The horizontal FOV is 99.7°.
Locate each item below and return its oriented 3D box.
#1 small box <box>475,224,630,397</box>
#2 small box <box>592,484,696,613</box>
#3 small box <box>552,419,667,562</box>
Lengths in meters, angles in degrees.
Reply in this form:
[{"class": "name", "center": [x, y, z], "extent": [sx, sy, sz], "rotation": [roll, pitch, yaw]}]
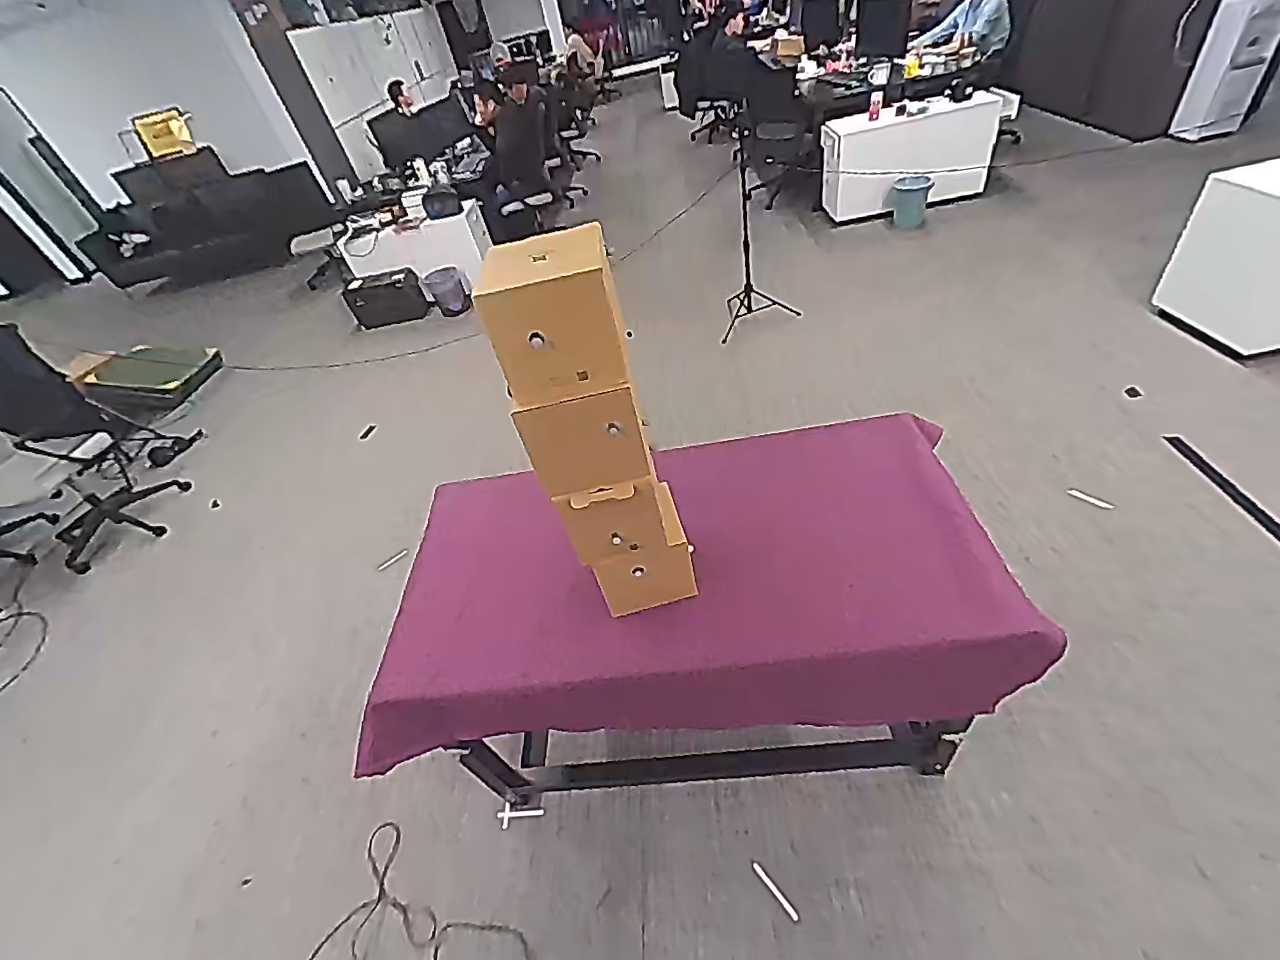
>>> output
[{"class": "small box", "center": [-0.112, -0.233, 0.766], "extent": [0.168, 0.176, 0.179], "rotation": [-11, 41, 4]}, {"class": "small box", "center": [0.001, 0.138, 1.069], "extent": [0.179, 0.176, 0.168], "rotation": [-14, 43, -1]}, {"class": "small box", "center": [-0.051, 0.019, 0.966], "extent": [0.168, 0.176, 0.179], "rotation": [-12, 42, 4]}]
